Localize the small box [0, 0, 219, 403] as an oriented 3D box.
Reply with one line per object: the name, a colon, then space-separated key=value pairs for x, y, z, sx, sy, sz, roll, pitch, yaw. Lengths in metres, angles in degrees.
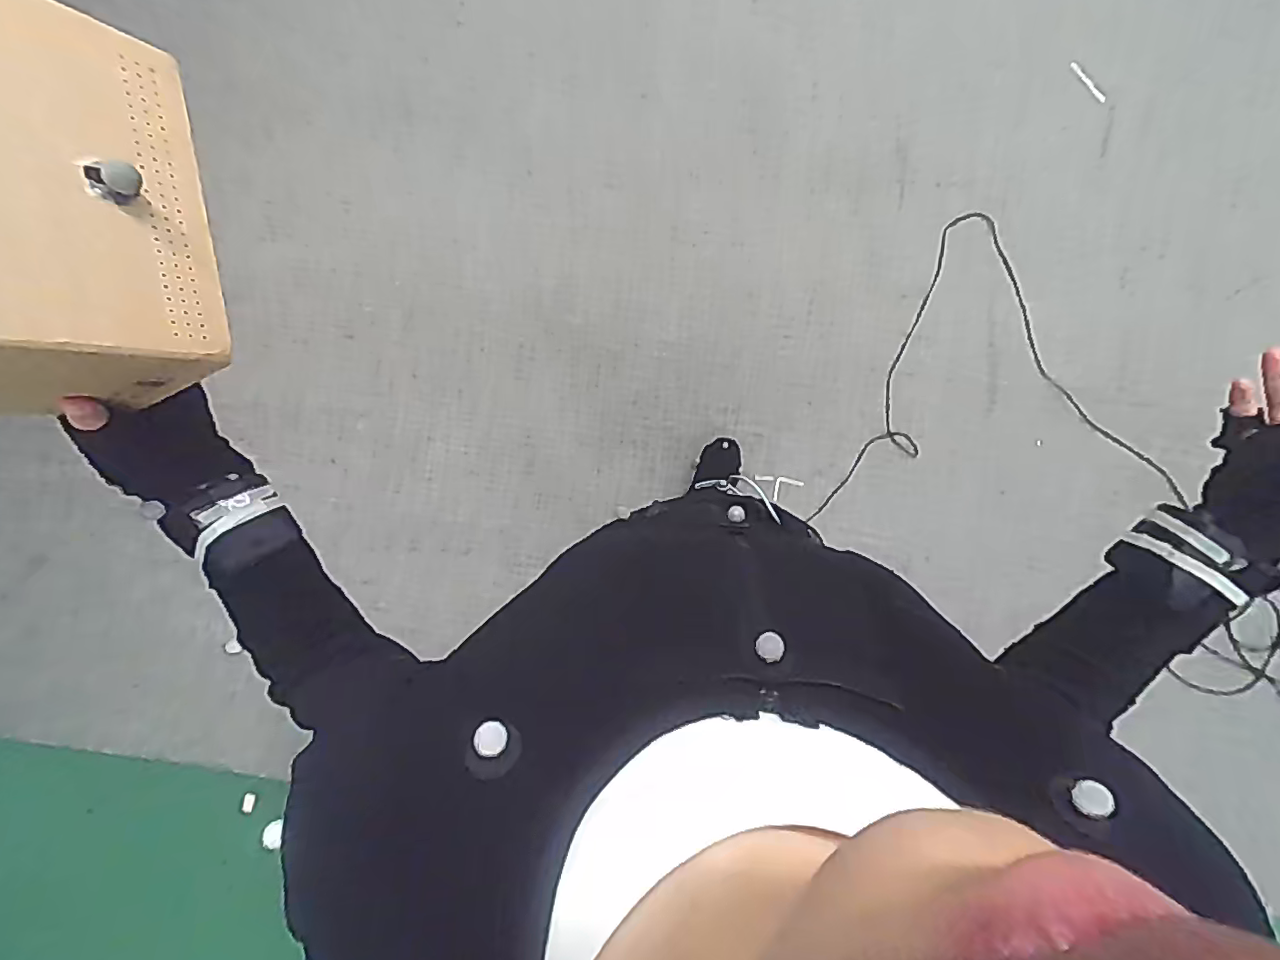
small box: x=-0.350 y=-0.138 z=0.266 sx=0.168 sy=0.176 sz=0.179 roll=-8 pitch=93 yaw=30
